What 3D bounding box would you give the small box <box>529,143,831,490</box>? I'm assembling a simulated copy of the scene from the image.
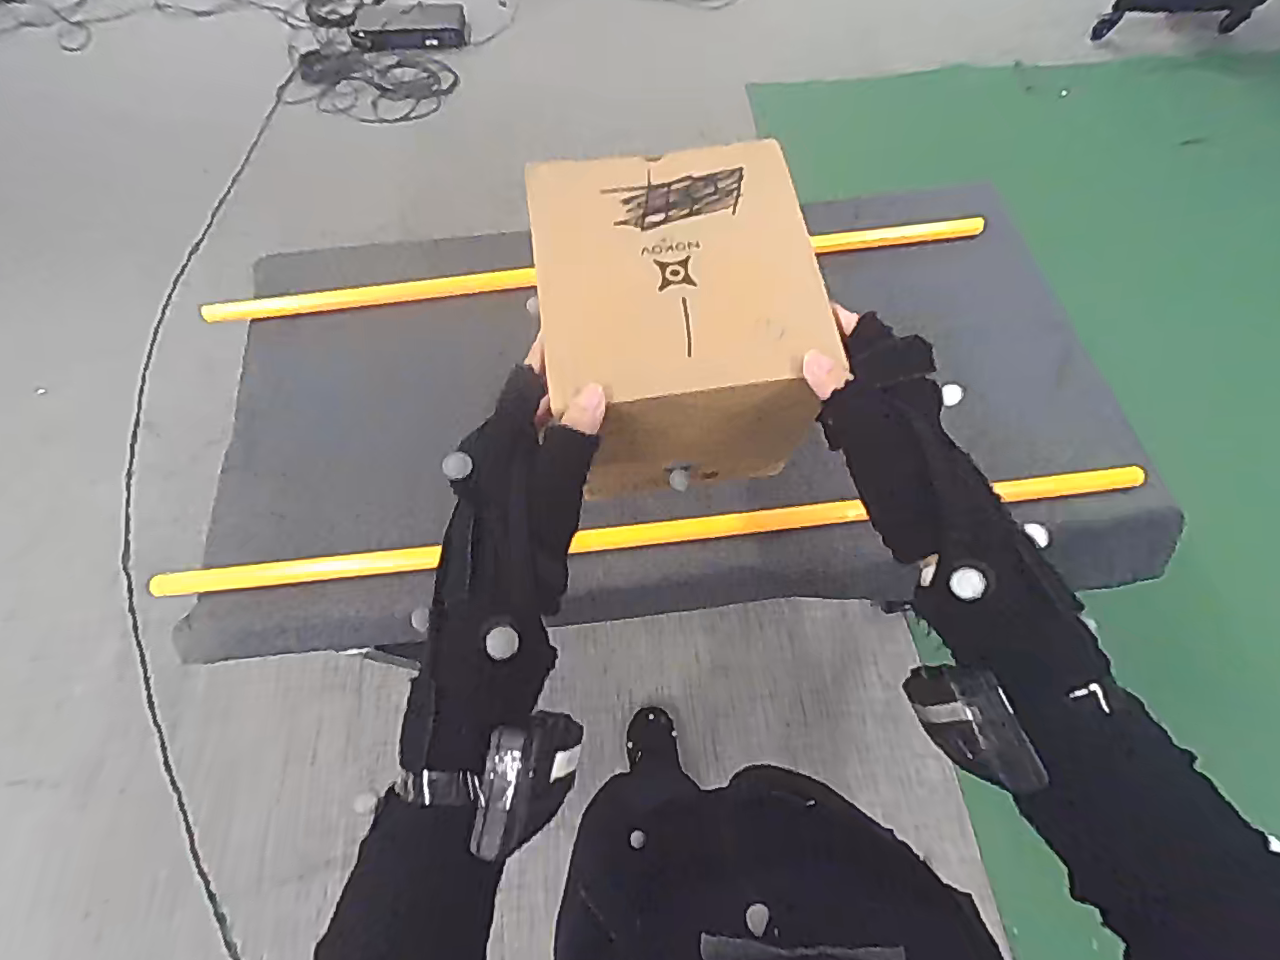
[{"bbox_3d":[0.017,-0.108,0.404,0.168,0.176,0.179,-8,72,-2],"label":"small box"}]
